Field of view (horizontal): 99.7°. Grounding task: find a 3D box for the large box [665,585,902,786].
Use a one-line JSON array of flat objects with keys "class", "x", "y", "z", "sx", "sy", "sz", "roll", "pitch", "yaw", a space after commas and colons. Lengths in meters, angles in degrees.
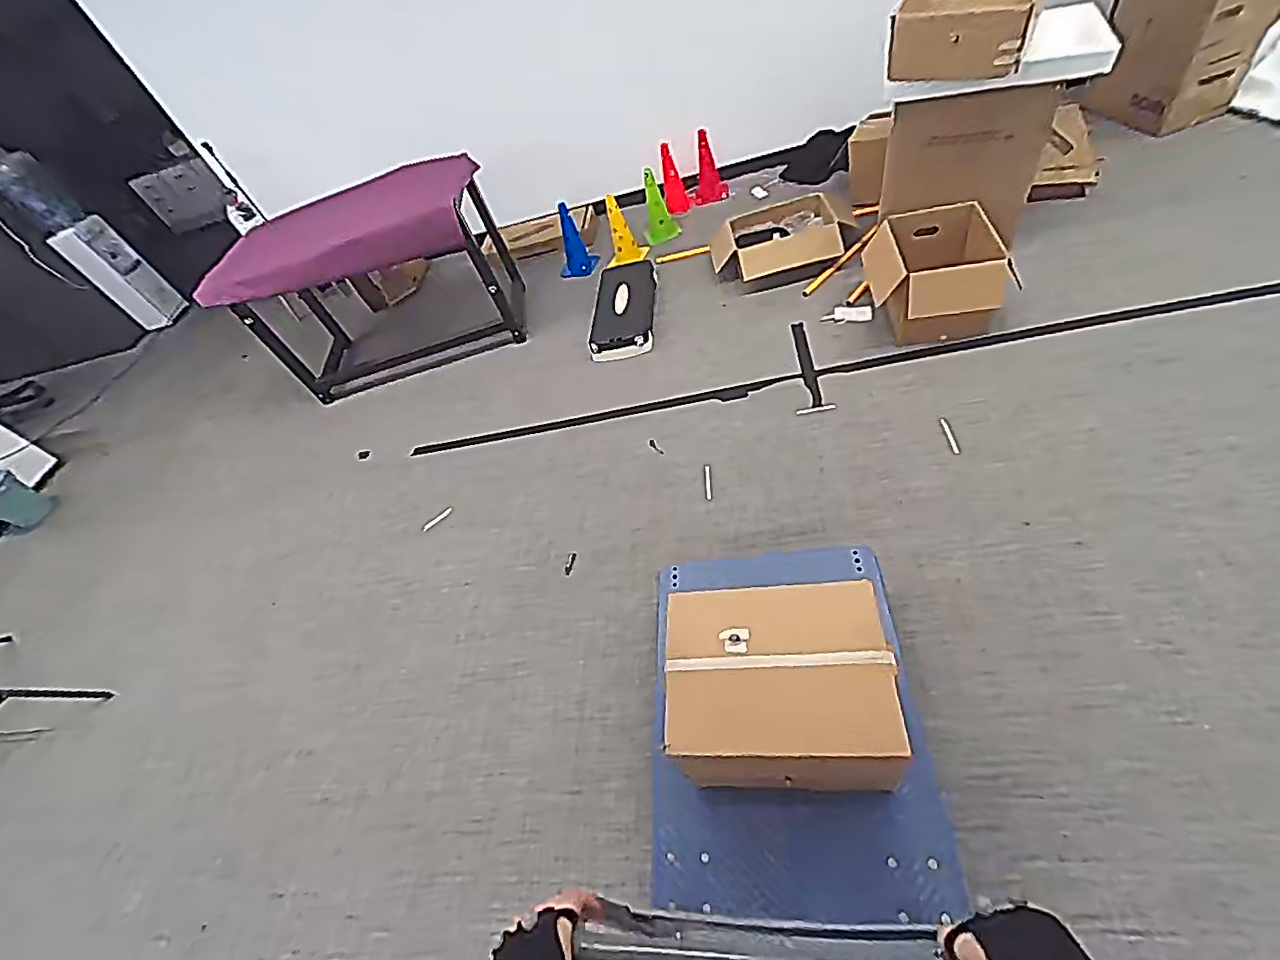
[{"class": "large box", "x": 0.286, "y": 0.442, "z": 1.128, "sx": 0.408, "sy": 0.320, "sz": 0.320, "roll": -8, "pitch": 49, "yaw": 15}]
